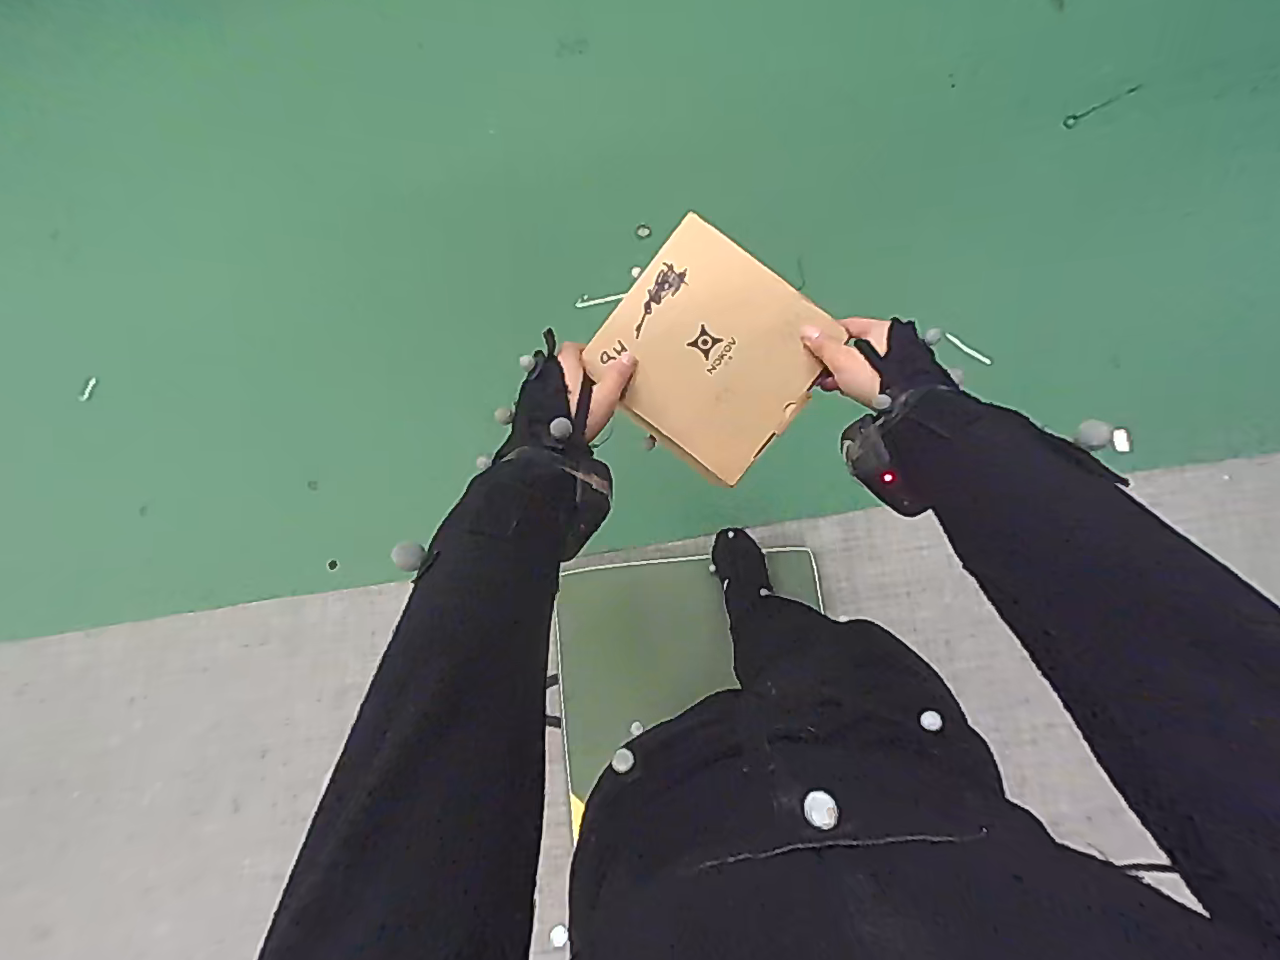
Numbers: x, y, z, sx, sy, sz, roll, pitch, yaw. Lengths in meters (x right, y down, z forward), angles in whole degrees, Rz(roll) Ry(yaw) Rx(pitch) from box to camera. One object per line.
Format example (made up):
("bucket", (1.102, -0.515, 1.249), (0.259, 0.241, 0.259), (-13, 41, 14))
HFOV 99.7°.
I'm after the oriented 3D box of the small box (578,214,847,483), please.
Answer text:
("small box", (0.063, -0.115, 0.543), (0.179, 0.176, 0.168), (38, 91, 0))
